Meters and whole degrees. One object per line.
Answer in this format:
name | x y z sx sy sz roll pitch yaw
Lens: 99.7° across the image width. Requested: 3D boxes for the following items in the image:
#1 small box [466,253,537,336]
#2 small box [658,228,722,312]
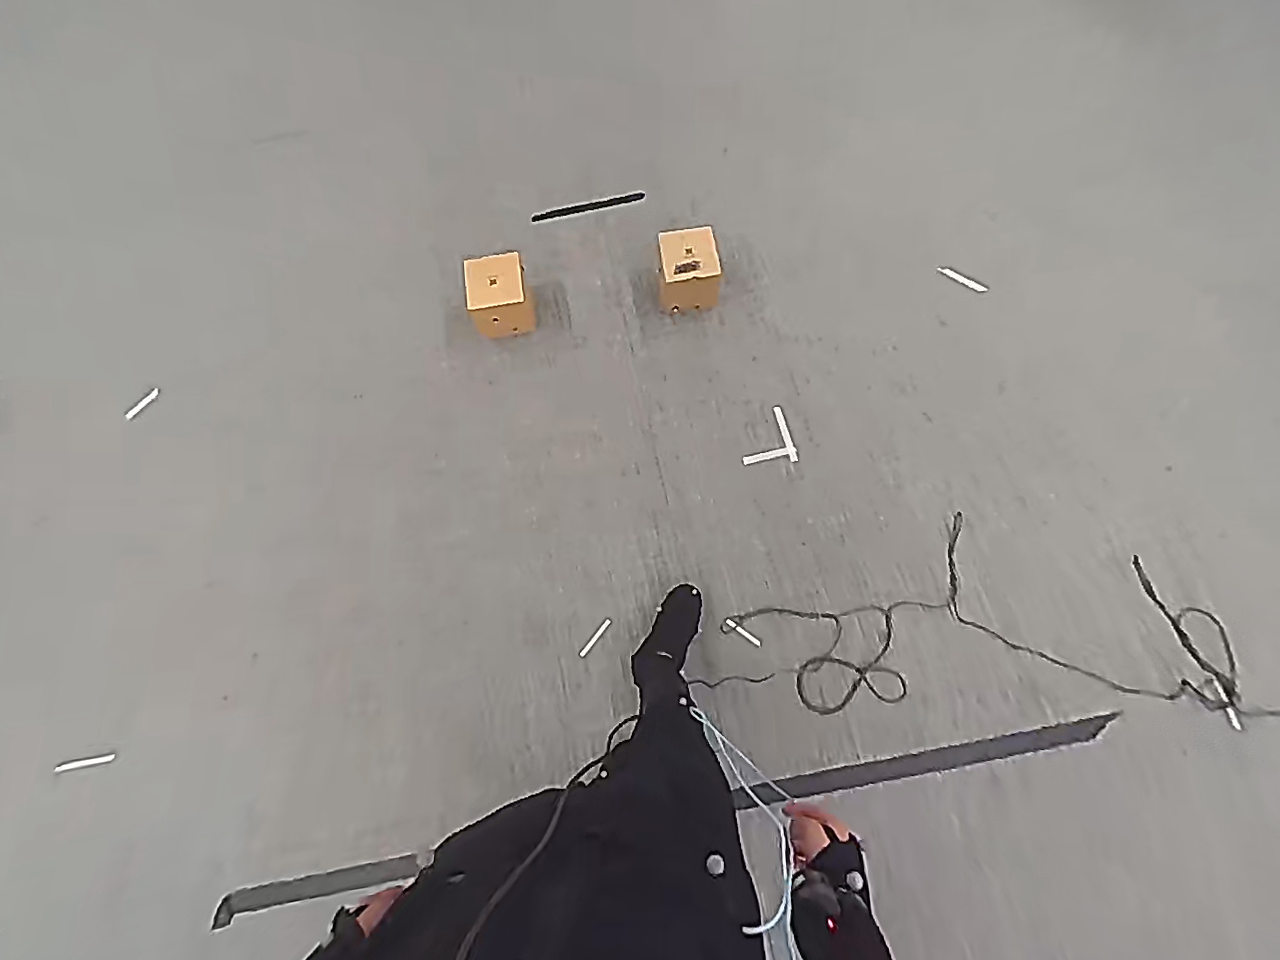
small box | -0.419 -0.558 1.654 0.168 0.176 0.179 -10 74 0
small box | 0.149 -0.634 1.655 0.168 0.176 0.179 -8 73 -1
